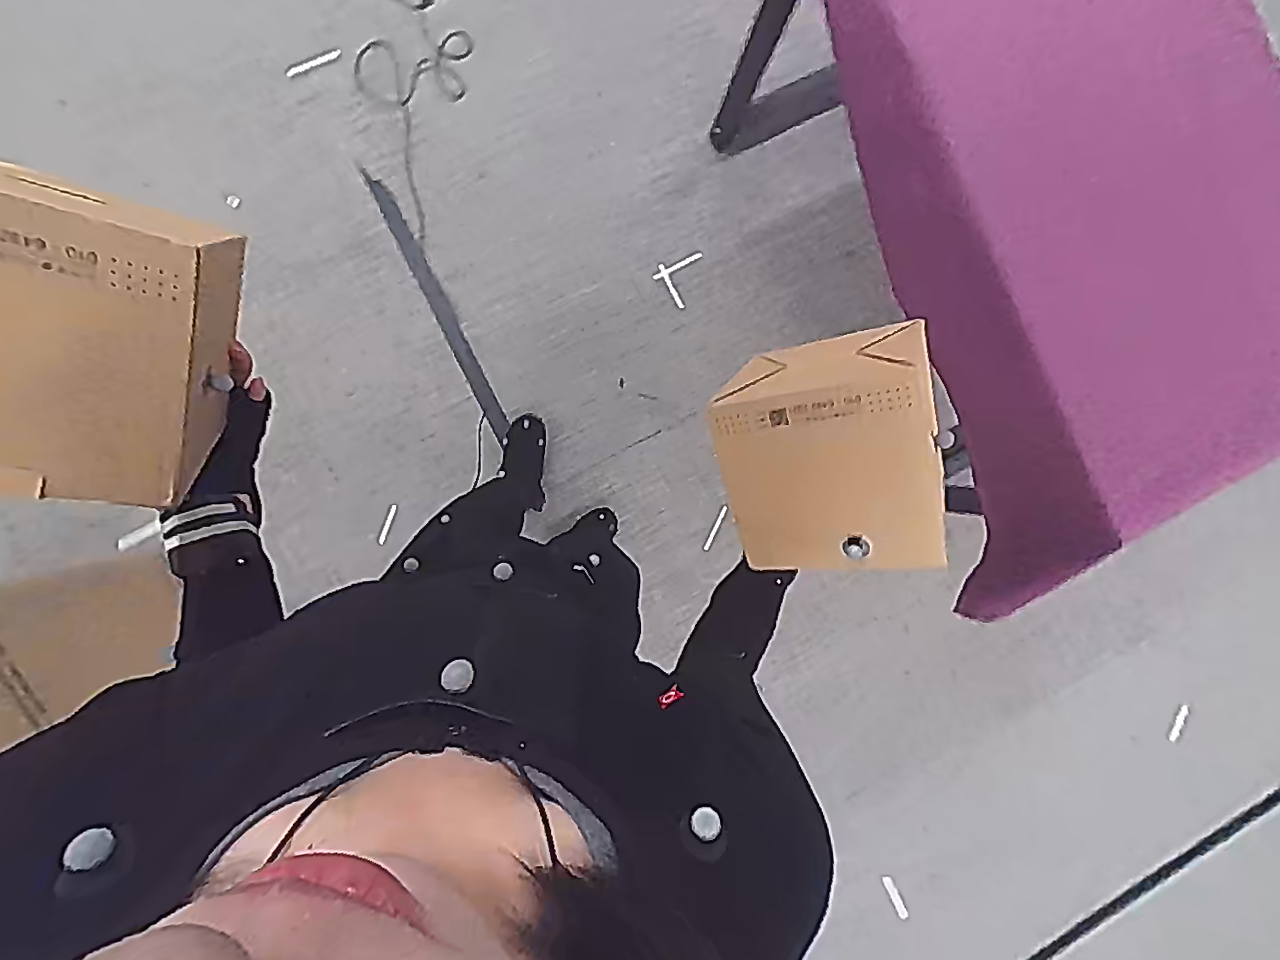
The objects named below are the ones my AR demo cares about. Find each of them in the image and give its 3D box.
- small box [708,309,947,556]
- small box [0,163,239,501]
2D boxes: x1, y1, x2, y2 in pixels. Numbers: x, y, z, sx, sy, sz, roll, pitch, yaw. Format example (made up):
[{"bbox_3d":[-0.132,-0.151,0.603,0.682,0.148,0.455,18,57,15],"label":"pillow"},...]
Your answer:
[{"bbox_3d":[0.181,-0.048,0.502,0.168,0.179,0.176,-7,112,31],"label":"small box"},{"bbox_3d":[-0.376,-0.103,0.348,0.168,0.179,0.176,8,110,-31],"label":"small box"}]
